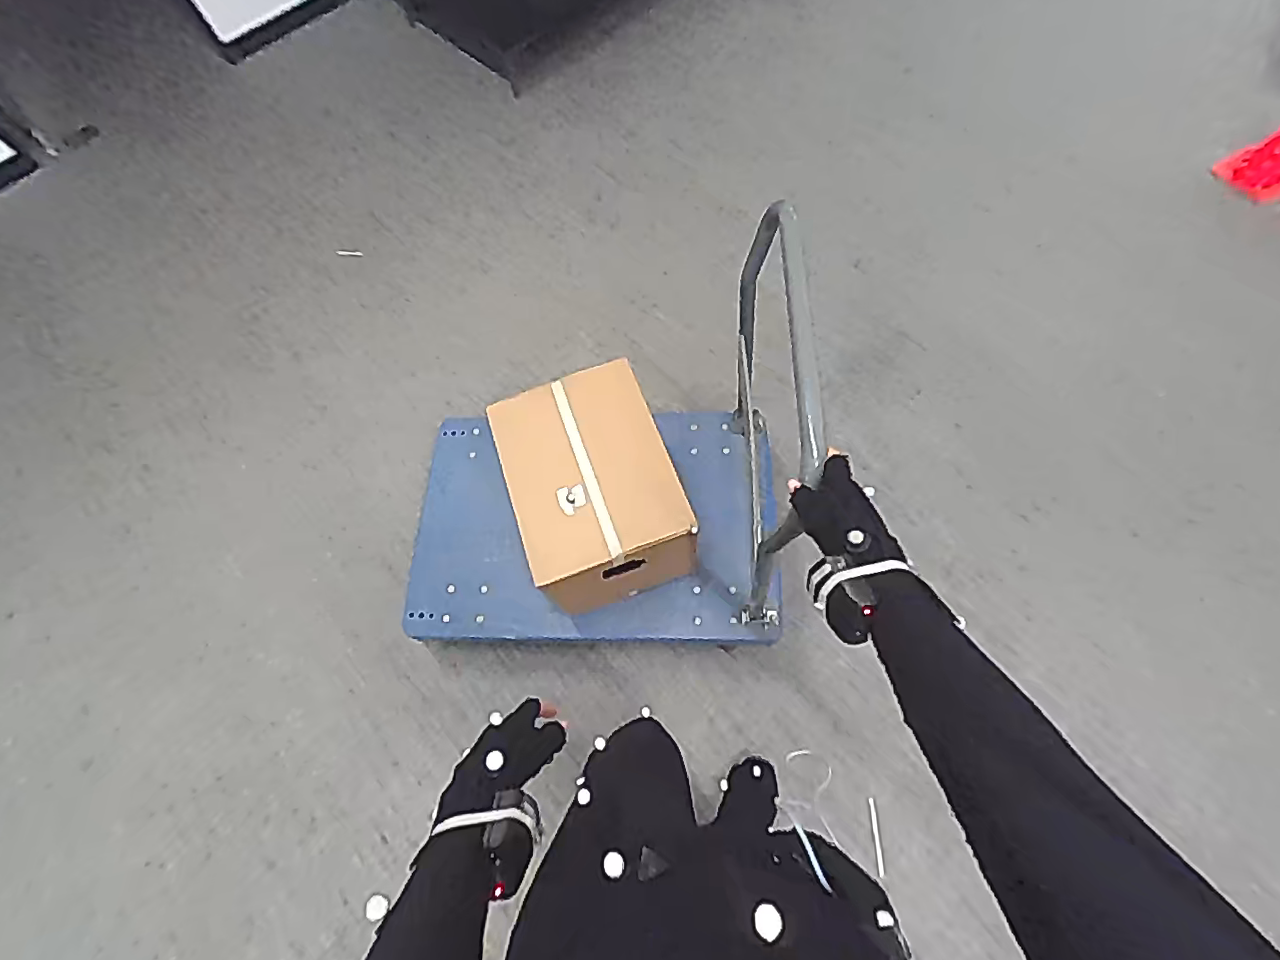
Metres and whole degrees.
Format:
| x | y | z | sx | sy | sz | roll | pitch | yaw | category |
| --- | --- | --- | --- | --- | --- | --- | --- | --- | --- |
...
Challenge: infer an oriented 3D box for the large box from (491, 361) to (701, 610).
| x | y | z | sx | sy | sz | roll | pitch | yaw | category |
| --- | --- | --- | --- | --- | --- | --- | --- | --- | --- |
| -0.090 | 0.023 | 1.186 | 0.320 | 0.320 | 0.408 | -20 | 67 | -3 | large box |
